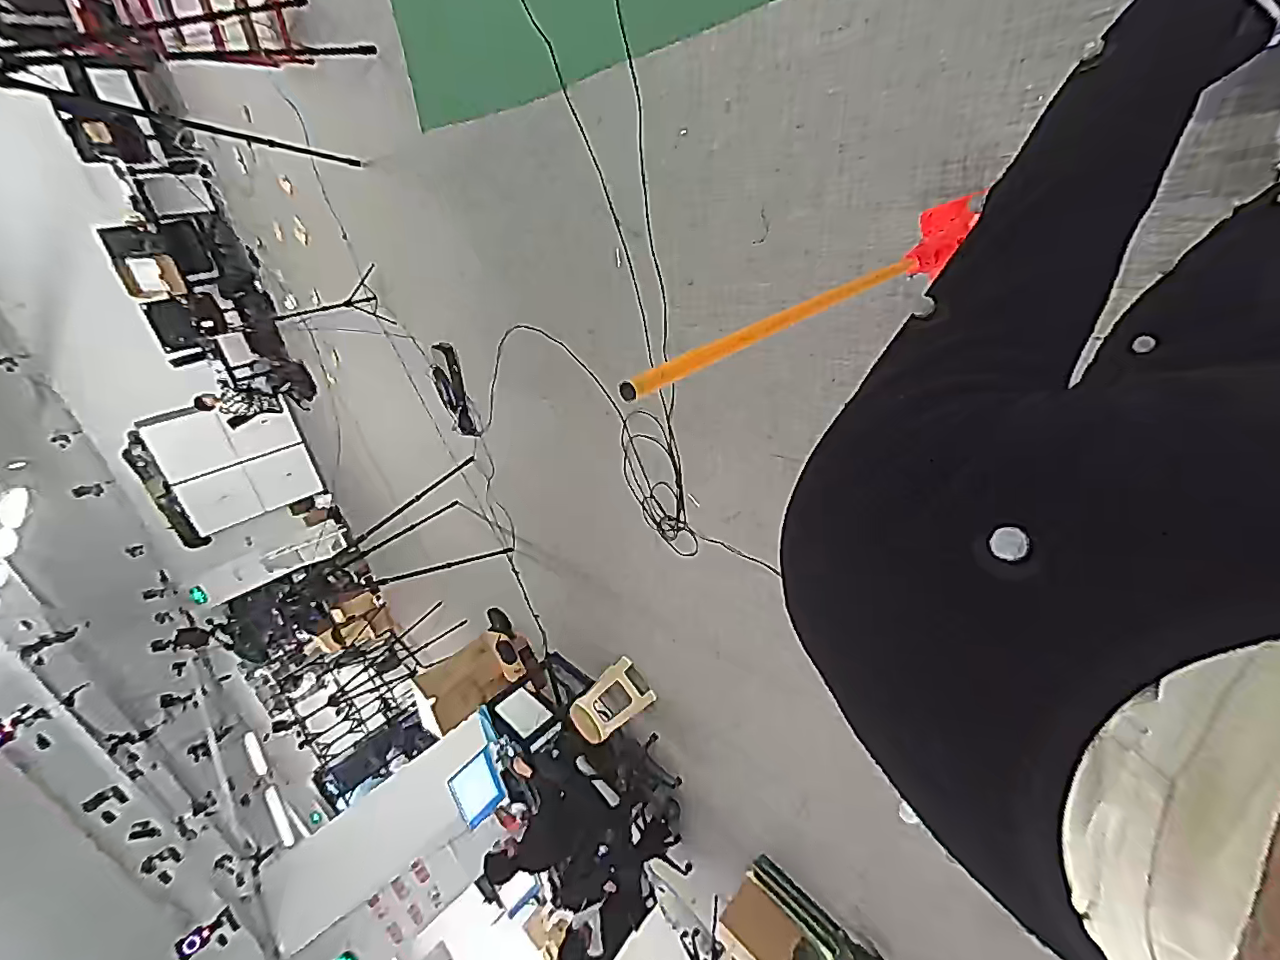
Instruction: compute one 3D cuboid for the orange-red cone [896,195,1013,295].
[{"bbox_3d":[0.677,-0.505,1.231,0.199,0.360,0.198,3,115,51],"label":"orange-red cone"}]
